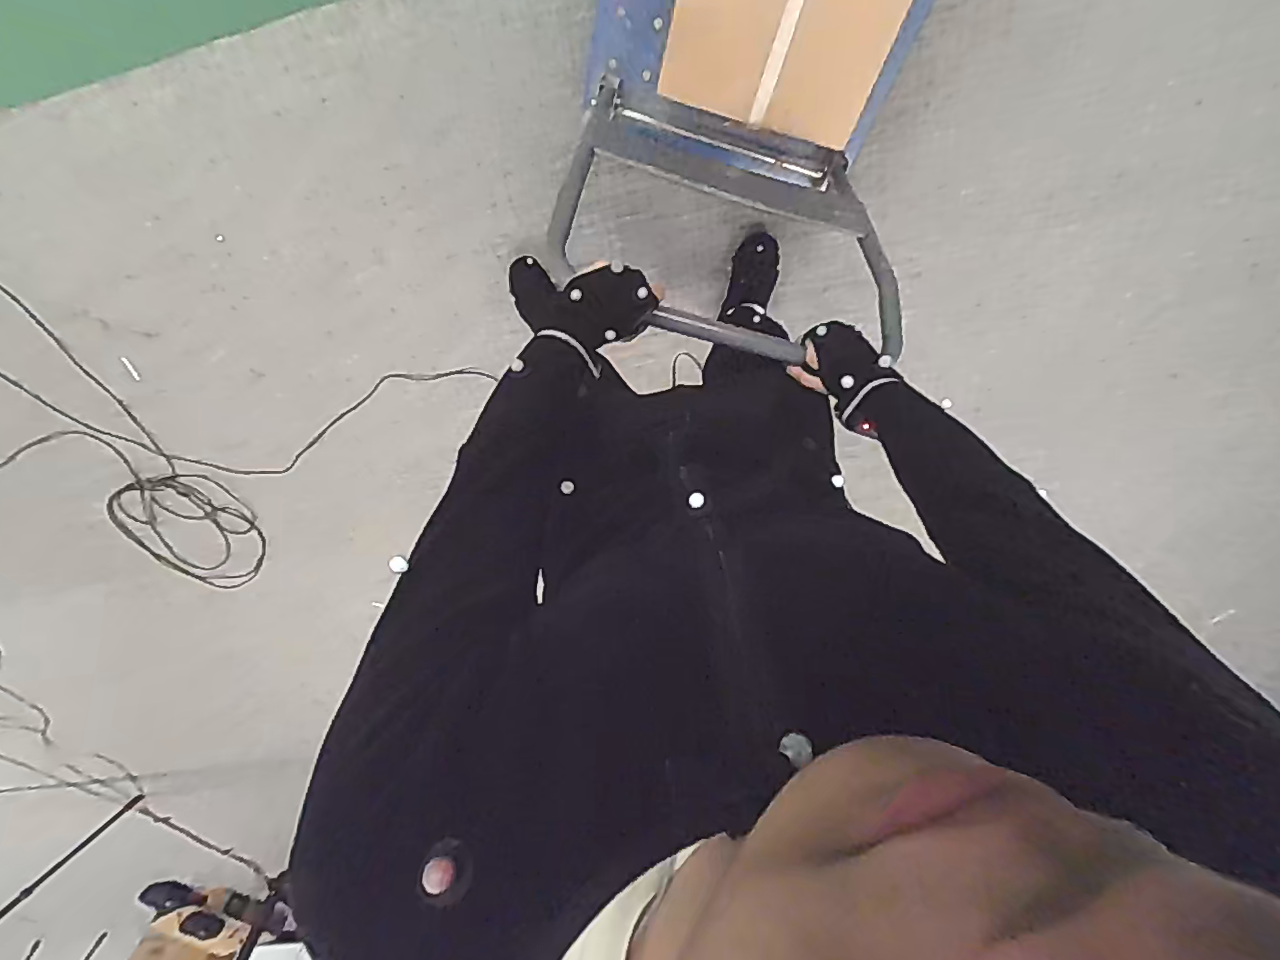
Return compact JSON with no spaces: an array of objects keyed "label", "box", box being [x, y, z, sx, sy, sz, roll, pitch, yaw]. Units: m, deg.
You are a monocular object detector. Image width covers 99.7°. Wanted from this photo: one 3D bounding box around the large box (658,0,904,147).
[{"label":"large box","box":[0.228,-0.801,0.819,0.320,0.320,0.408,12,135,-7]}]
